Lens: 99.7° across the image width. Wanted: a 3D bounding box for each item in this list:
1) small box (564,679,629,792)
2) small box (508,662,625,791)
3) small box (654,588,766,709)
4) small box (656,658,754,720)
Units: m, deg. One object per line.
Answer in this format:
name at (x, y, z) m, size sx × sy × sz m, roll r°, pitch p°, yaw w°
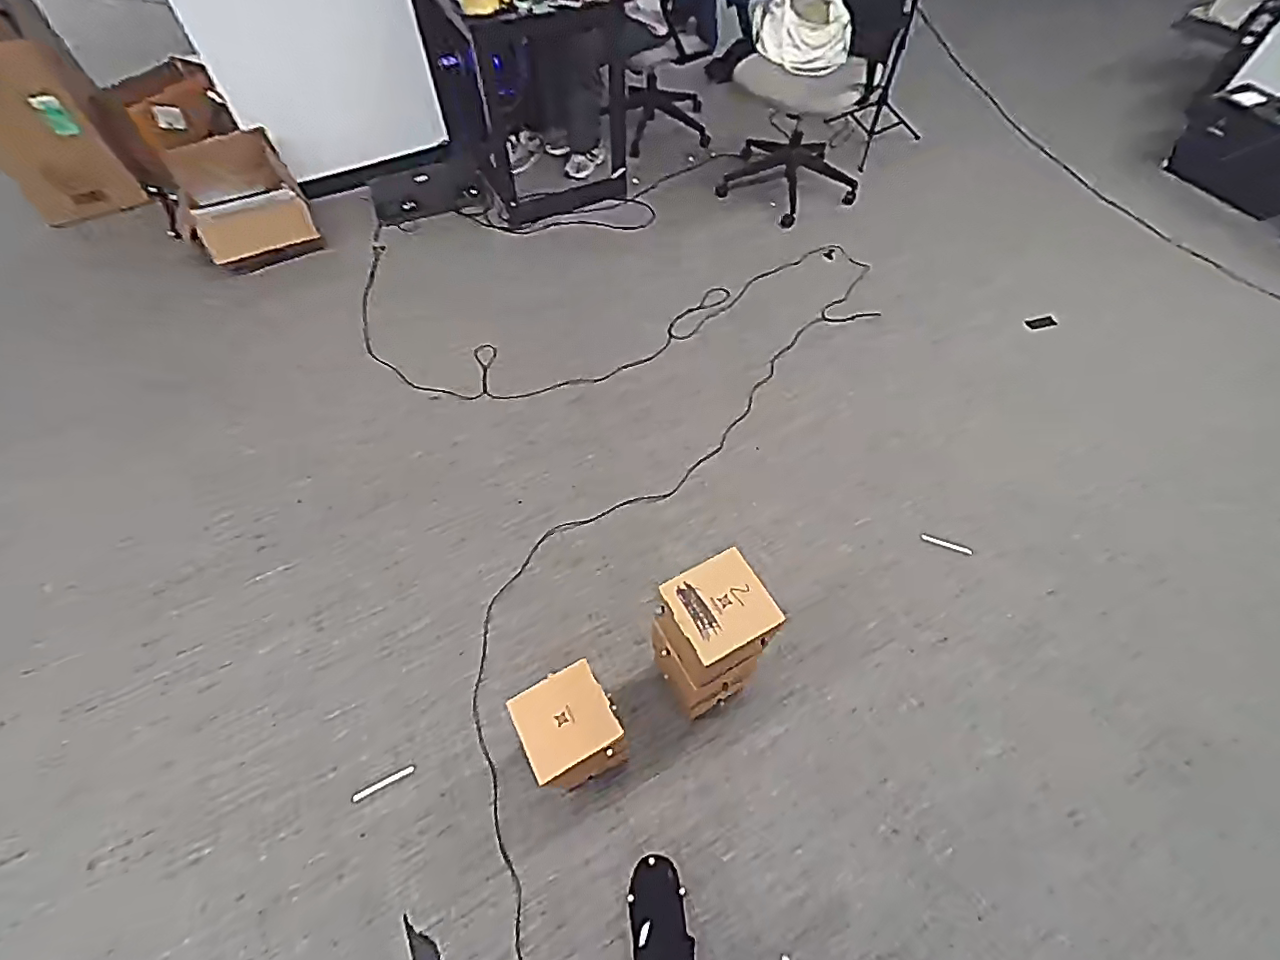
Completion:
small box at (-0.134, 0.586, 1.232) m, size 0.168 × 0.176 × 0.179 m, roll -23°, pitch 61°, yaw -13°
small box at (-0.141, 0.503, 1.093) m, size 0.179 × 0.176 × 0.168 m, roll -26°, pitch 61°, yaw -15°
small box at (0.141, 0.368, 1.174) m, size 0.179 × 0.176 × 0.168 m, roll -26°, pitch 61°, yaw -16°
small box at (0.148, 0.455, 1.314) m, size 0.168 × 0.176 × 0.179 m, roll -26°, pitch 62°, yaw -15°
